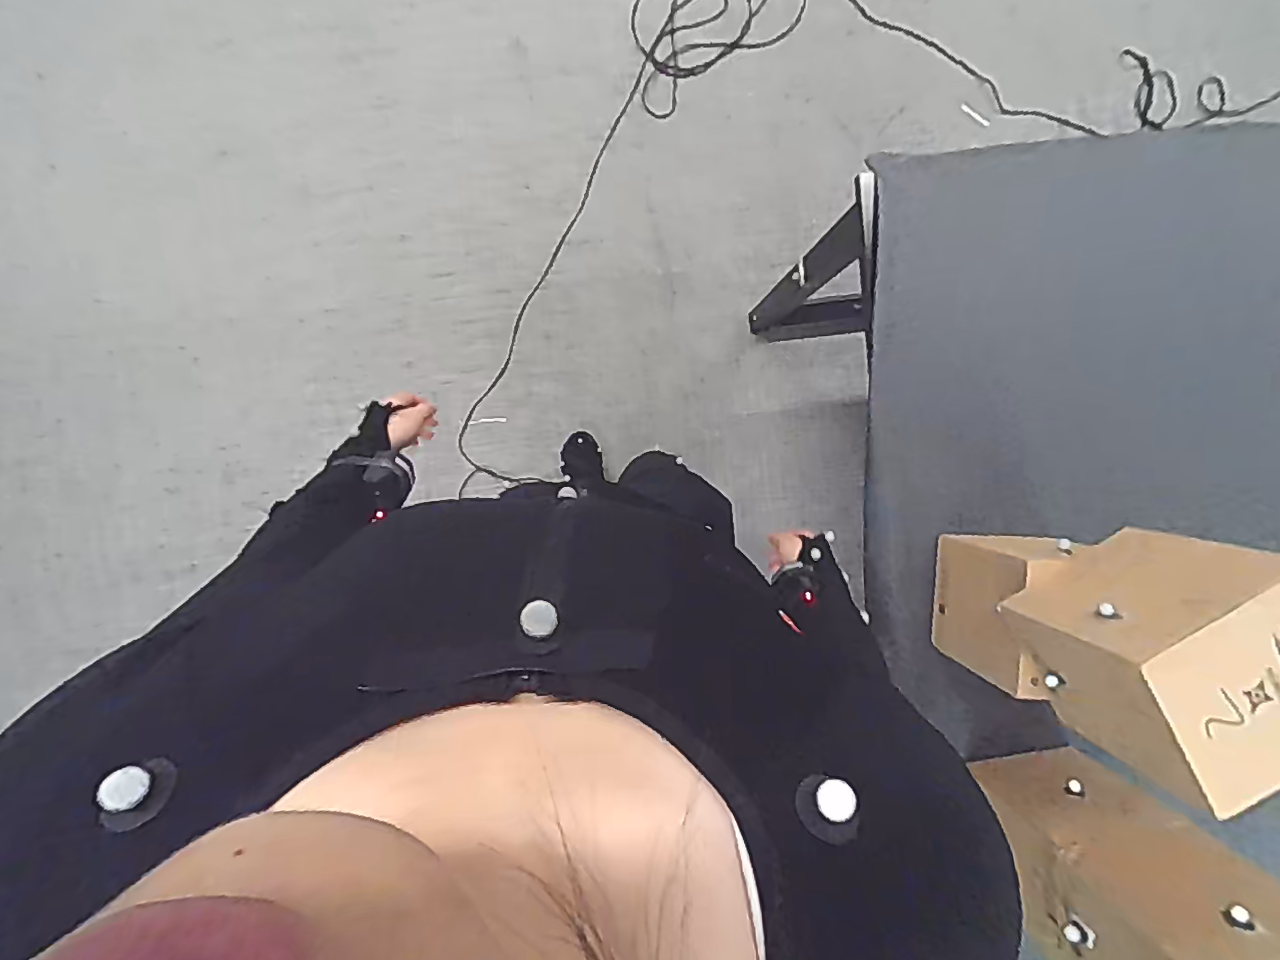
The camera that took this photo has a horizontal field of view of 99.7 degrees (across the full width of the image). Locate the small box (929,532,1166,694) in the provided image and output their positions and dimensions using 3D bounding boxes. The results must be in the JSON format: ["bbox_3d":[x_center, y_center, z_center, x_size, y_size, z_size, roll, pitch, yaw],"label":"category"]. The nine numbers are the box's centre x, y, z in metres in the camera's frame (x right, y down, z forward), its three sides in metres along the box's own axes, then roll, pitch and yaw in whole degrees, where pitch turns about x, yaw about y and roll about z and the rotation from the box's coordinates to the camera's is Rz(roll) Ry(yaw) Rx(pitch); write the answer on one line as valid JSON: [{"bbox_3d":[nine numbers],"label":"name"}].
[{"bbox_3d":[0.516,0.163,0.706,0.179,0.176,0.168,2,93,-4],"label":"small box"}]

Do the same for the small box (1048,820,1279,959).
[{"bbox_3d":[0.580,0.494,0.564,0.179,0.176,0.168,-10,92,-3],"label":"small box"}]

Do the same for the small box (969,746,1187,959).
[{"bbox_3d":[0.573,0.486,0.726,0.179,0.176,0.168,-7,93,-5],"label":"small box"}]
